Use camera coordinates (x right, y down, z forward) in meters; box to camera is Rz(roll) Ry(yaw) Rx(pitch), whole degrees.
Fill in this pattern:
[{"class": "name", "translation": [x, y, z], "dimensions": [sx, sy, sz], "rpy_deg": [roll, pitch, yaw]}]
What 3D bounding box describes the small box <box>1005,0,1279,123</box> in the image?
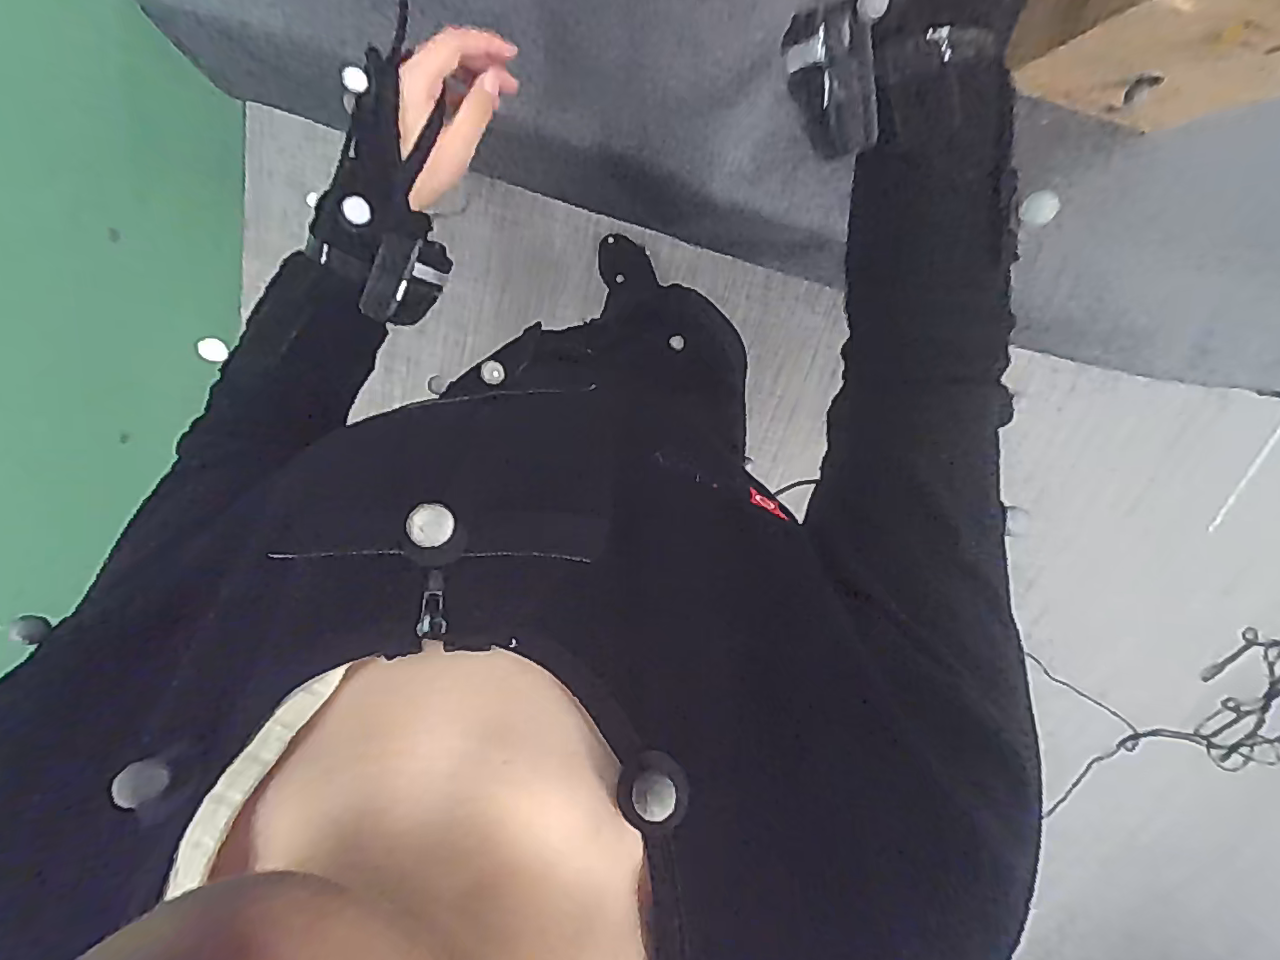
[{"class": "small box", "translation": [0.417, -0.395, 0.396], "dimensions": [0.168, 0.176, 0.179], "rpy_deg": [14, 110, -5]}]
